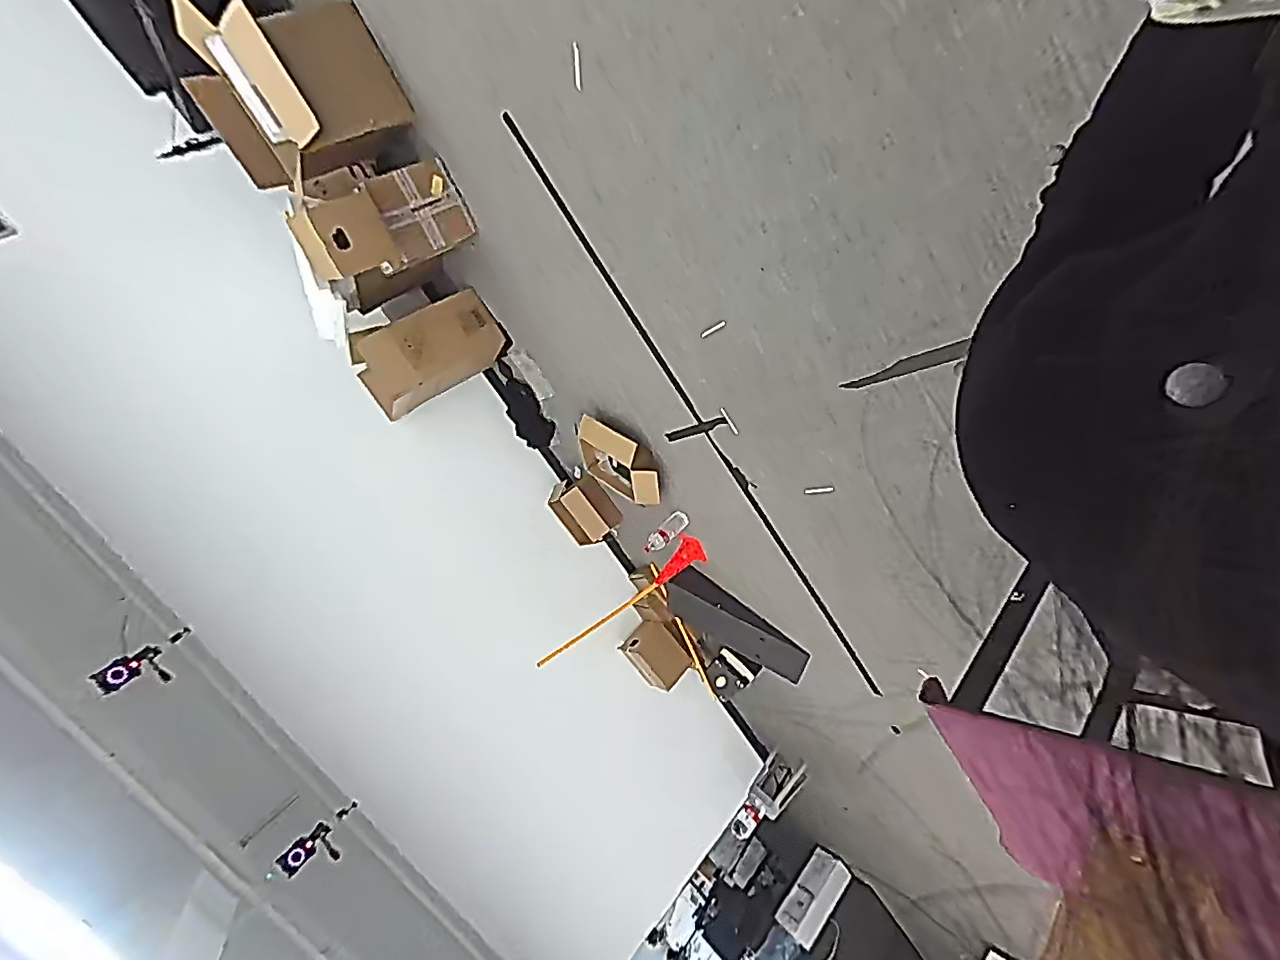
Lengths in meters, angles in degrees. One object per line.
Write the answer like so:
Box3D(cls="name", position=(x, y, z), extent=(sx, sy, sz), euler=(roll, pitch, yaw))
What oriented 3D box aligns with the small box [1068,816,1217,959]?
Box3D(cls="small box", position=(0.990, 0.818, 1.063), extent=(0.168, 0.176, 0.179), euler=(-2, 124, 58))
